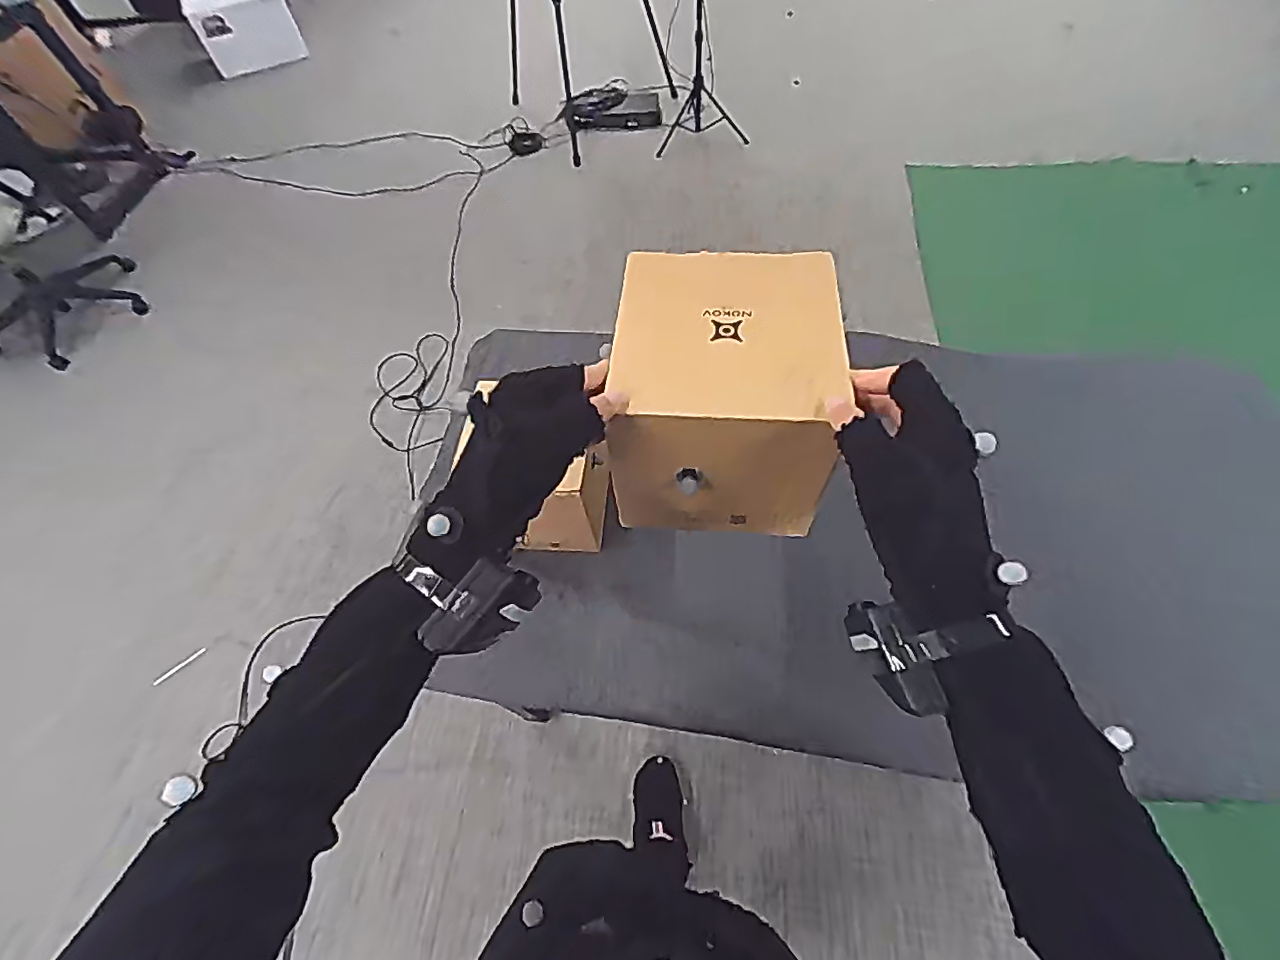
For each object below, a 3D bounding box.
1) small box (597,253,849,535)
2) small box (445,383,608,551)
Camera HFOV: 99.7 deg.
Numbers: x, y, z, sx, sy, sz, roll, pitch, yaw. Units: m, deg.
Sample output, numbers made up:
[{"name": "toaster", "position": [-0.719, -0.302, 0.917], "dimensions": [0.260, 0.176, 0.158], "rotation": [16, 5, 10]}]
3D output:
[{"name": "small box", "position": [0.066, -0.066, 0.460], "dimensions": [0.168, 0.176, 0.179], "rotation": [2, 56, 6]}, {"name": "small box", "position": [-0.139, -0.013, 0.741], "dimensions": [0.168, 0.176, 0.179], "rotation": [1, 57, 5]}]
